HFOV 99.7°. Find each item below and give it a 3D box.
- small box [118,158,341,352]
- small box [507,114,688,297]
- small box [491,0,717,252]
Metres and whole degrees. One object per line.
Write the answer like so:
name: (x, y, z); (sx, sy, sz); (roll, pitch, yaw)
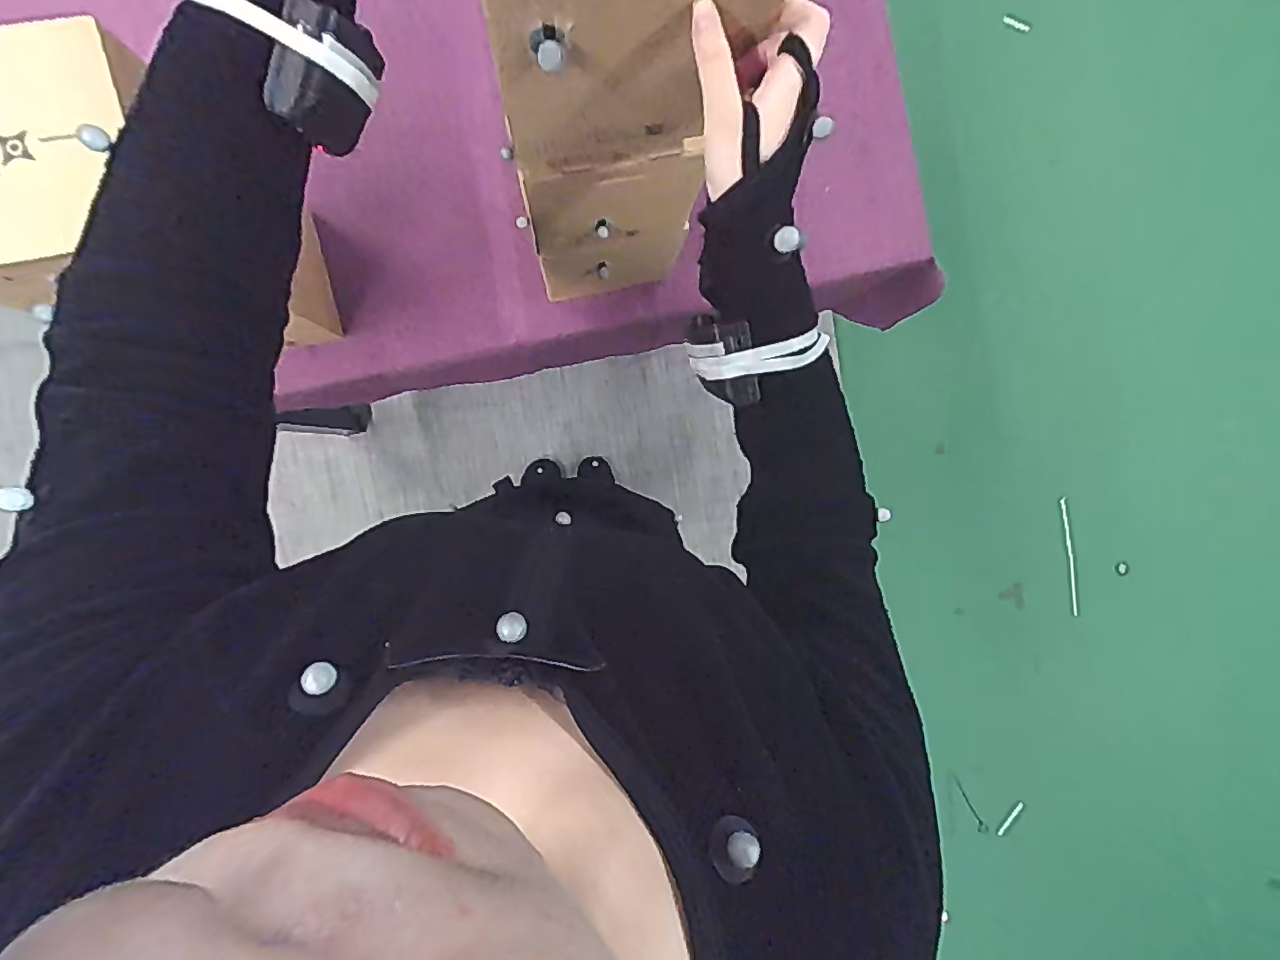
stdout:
small box: (-0.488, -0.258, 0.643); (0.168, 0.176, 0.179); (-13, 94, -6)
small box: (-0.051, -0.348, 0.683); (0.179, 0.176, 0.168); (-14, 94, -4)
small box: (-0.040, -0.347, 0.520); (0.168, 0.176, 0.179); (-12, 94, -5)
